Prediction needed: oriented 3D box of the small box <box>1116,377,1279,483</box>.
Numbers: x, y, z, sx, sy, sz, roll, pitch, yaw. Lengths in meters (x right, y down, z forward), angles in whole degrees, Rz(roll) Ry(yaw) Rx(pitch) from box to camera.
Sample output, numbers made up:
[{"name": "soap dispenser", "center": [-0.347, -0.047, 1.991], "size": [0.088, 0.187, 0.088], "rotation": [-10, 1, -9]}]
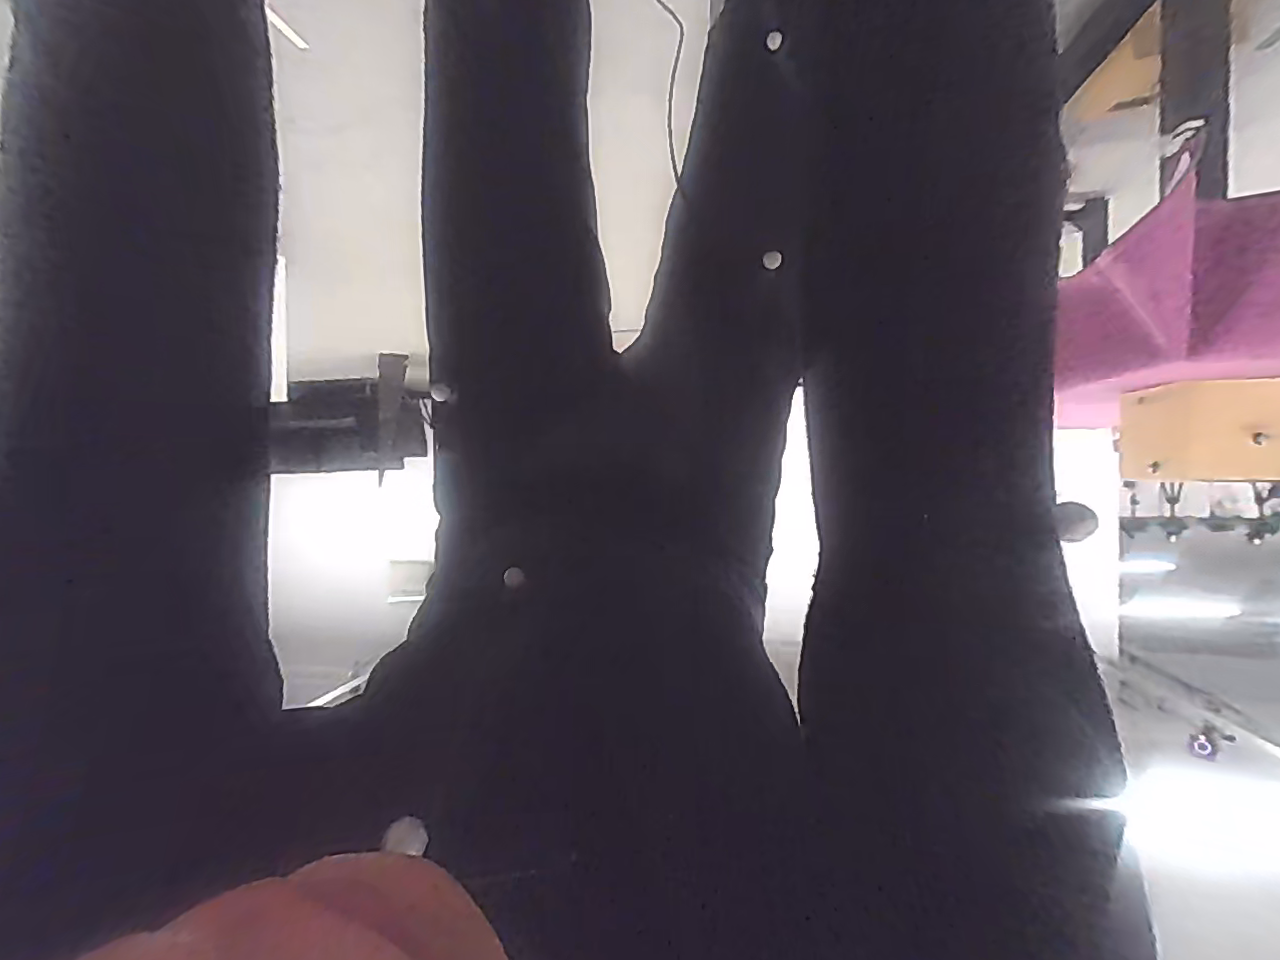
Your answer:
[{"name": "small box", "center": [0.988, -0.084, 0.948], "size": [0.179, 0.176, 0.168], "rotation": [0, -179, 12]}]
